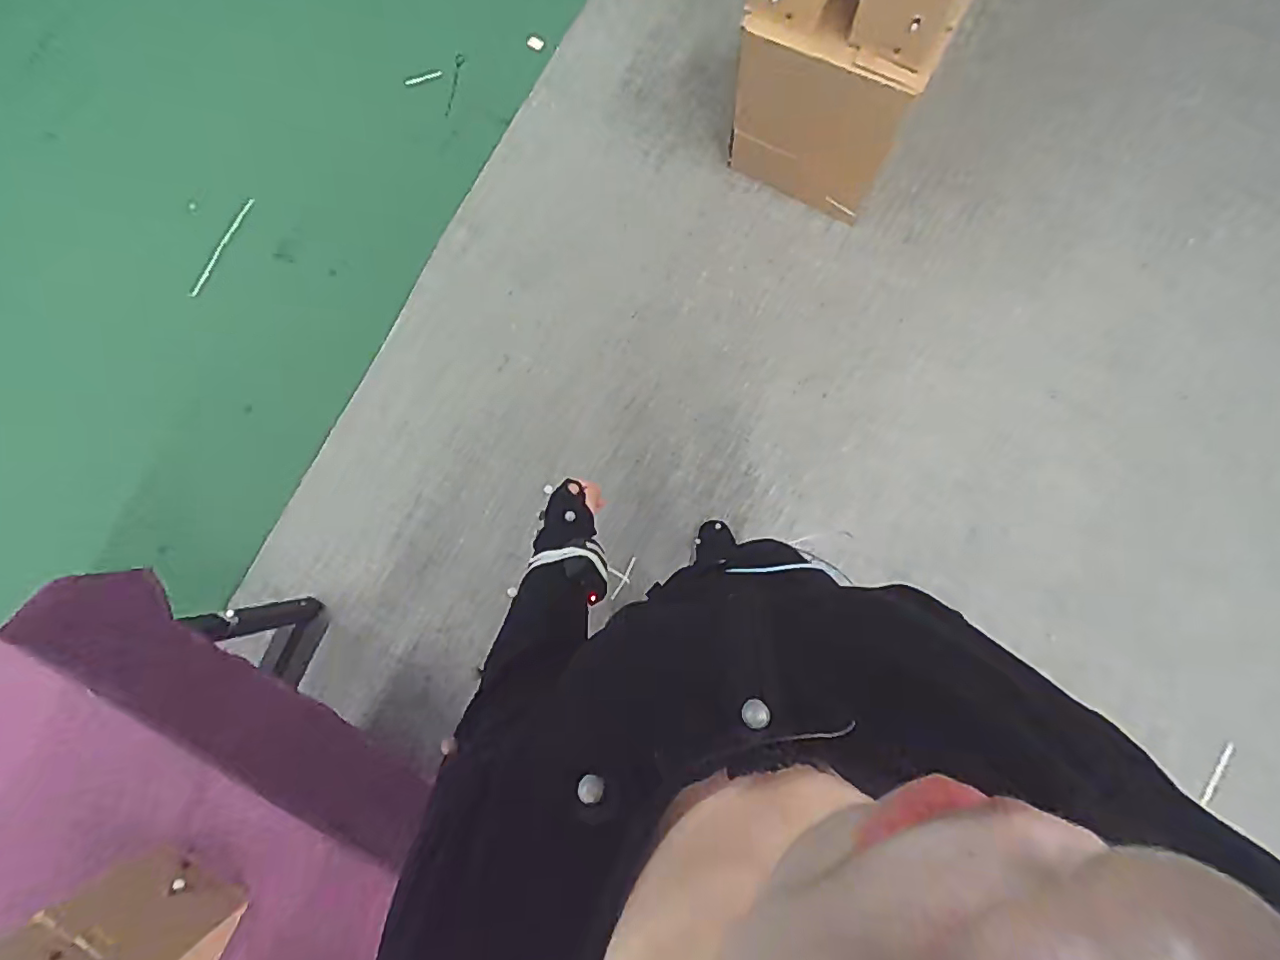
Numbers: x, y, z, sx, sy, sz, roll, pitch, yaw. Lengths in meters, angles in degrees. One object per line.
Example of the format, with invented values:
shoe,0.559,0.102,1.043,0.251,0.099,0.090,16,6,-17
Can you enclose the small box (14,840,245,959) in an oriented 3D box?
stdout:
small box,-0.686,0.642,0.722,0.168,0.176,0.179,28,88,7

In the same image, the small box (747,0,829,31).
small box,0.323,-1.057,1.066,0.168,0.176,0.179,28,89,6

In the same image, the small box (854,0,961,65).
small box,0.535,-0.955,1.033,0.168,0.176,0.179,32,87,9
